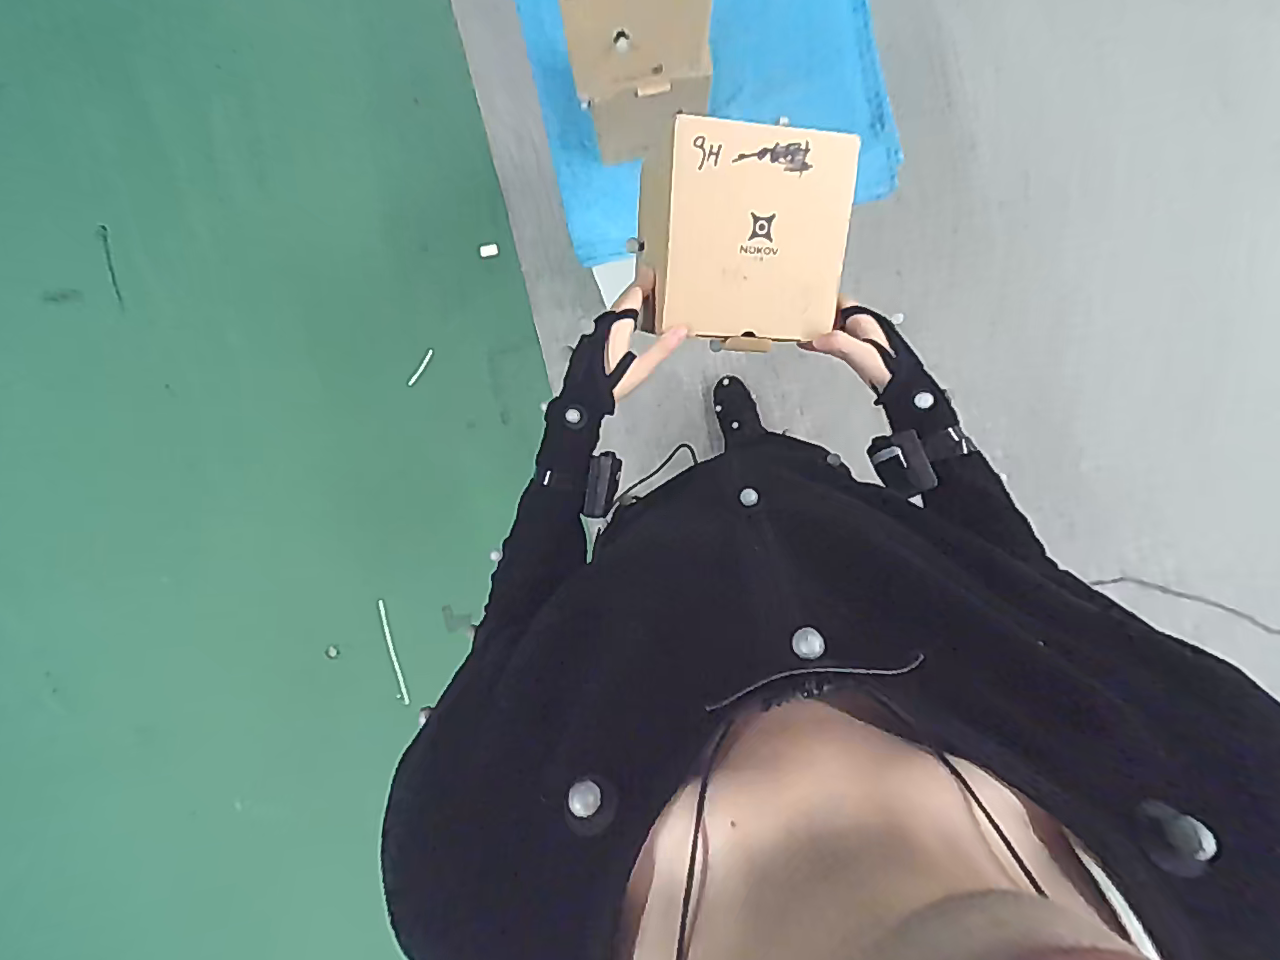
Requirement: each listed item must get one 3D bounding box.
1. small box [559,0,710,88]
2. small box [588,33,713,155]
[{"bbox_3d":[-0.014,-0.587,0.614,0.168,0.176,0.179,-10,91,2],"label":"small box"},{"bbox_3d":[0.003,-0.599,0.776,0.168,0.176,0.179,-12,92,2],"label":"small box"}]
